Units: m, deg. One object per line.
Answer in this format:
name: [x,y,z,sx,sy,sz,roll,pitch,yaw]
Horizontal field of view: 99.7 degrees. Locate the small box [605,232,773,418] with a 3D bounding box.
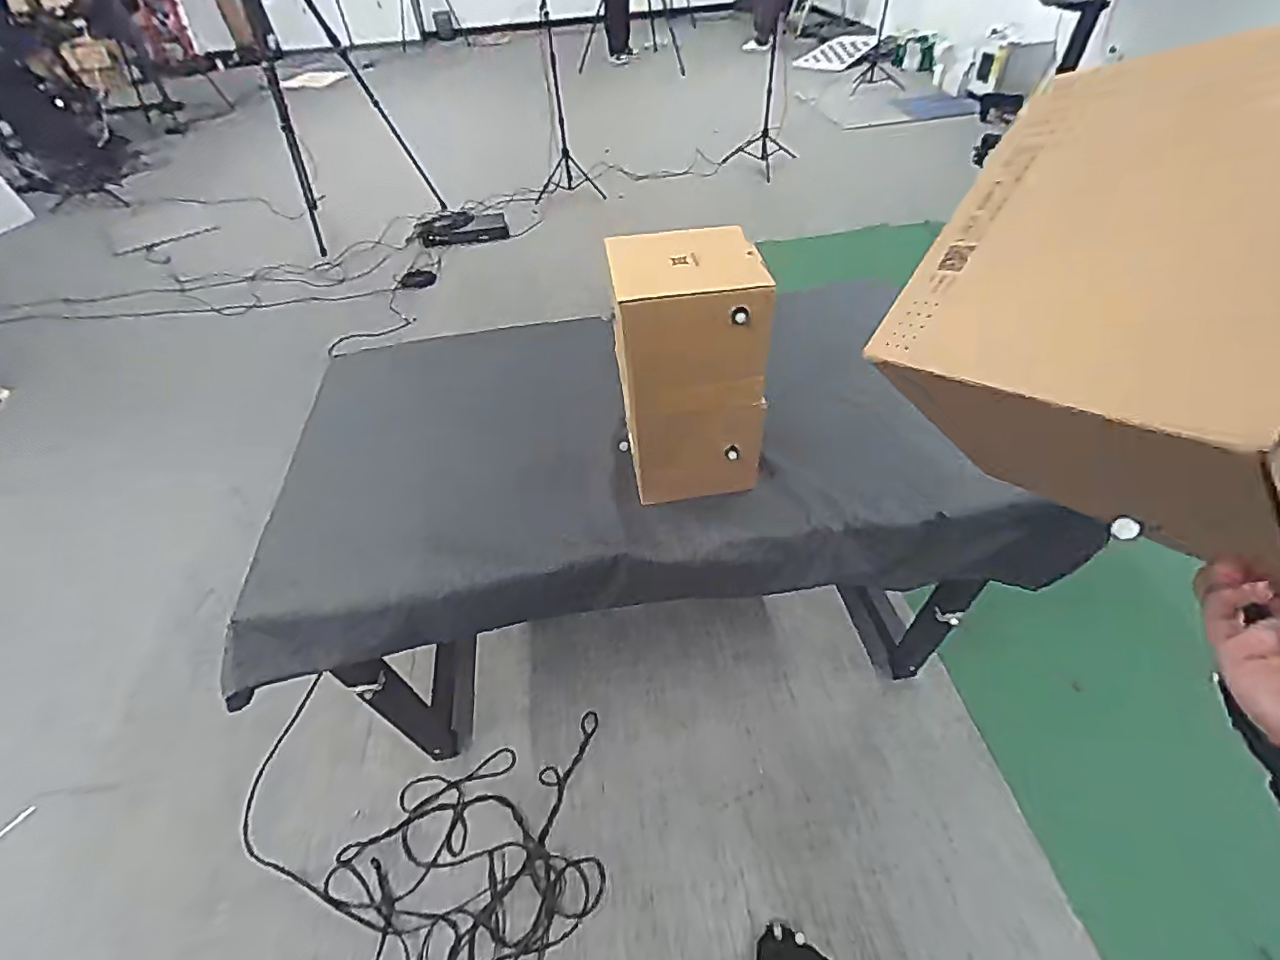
small box: [0.055,-0.194,0.690,0.179,0.176,0.168,-7,46,-3]

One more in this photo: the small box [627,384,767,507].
small box: [0.074,-0.082,0.806,0.179,0.176,0.168,-9,46,-3]
